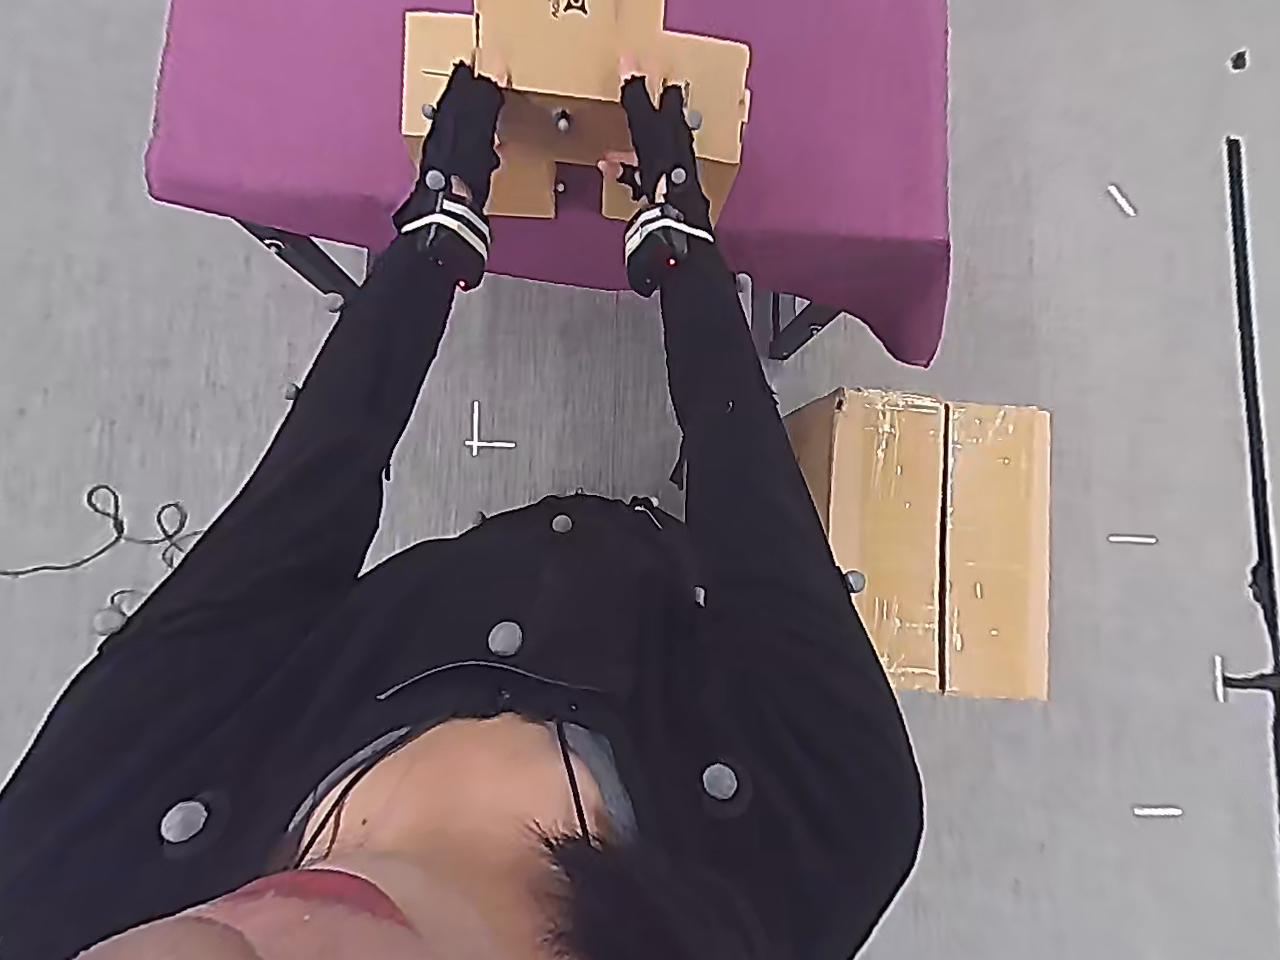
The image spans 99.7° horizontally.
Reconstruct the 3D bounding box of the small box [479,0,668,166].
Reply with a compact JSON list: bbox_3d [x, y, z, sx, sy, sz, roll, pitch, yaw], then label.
[{"bbox_3d":[-0.068,-0.464,0.584,0.179,0.176,0.168,3,101,-6],"label":"small box"}]

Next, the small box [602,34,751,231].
[{"bbox_3d":[0.043,-0.483,0.772,0.179,0.176,0.168,7,84,-5],"label":"small box"}]

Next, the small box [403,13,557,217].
[{"bbox_3d":[-0.207,-0.488,0.749,0.179,0.176,0.168,1,84,-3],"label":"small box"}]
